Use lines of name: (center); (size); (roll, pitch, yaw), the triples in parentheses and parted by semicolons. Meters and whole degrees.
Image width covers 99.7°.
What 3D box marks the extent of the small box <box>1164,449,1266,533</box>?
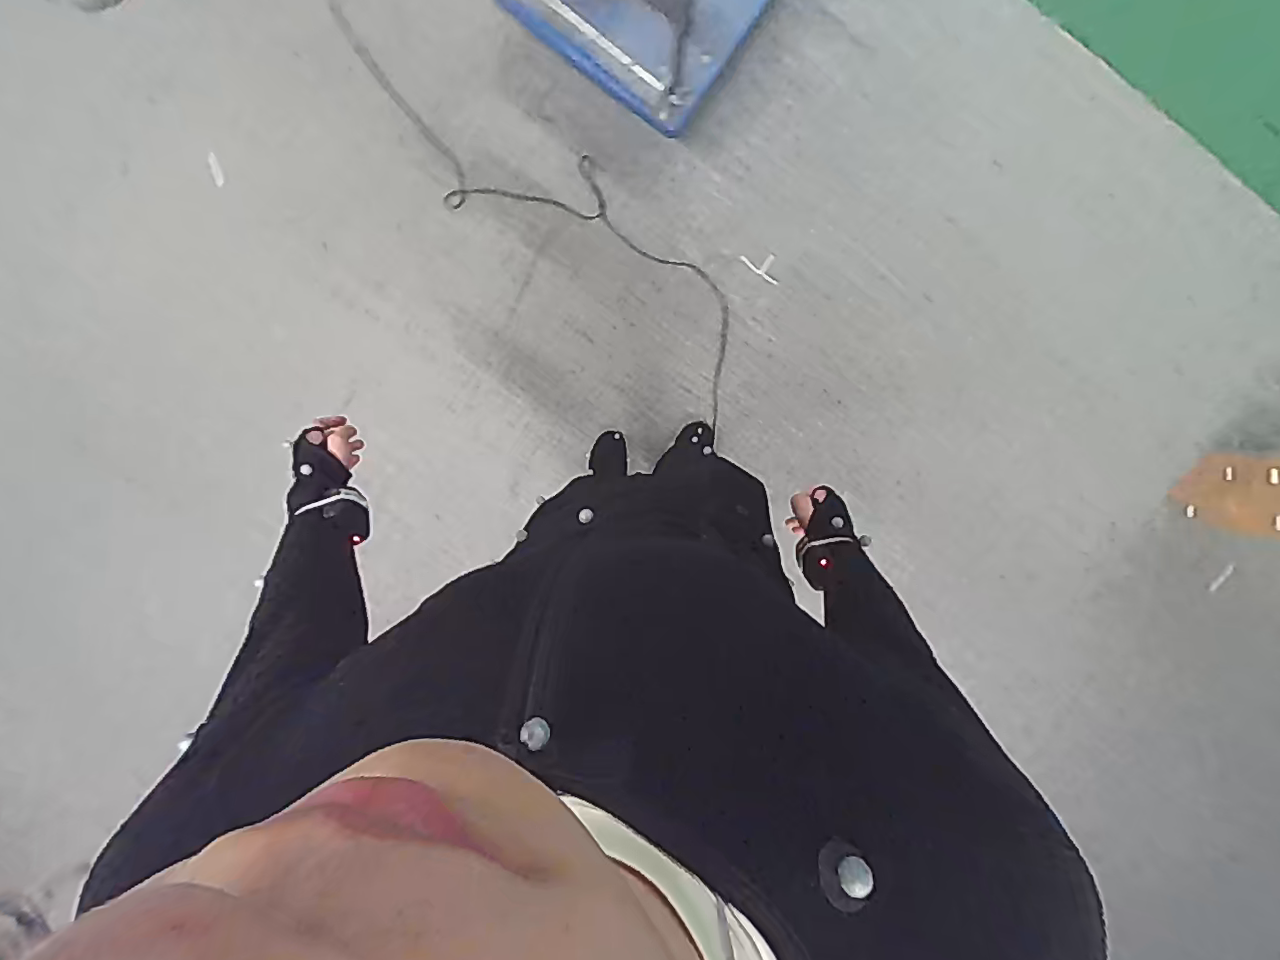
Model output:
small box: (1.728, 0.024, 1.591); (0.168, 0.176, 0.179); (40, 96, -5)
